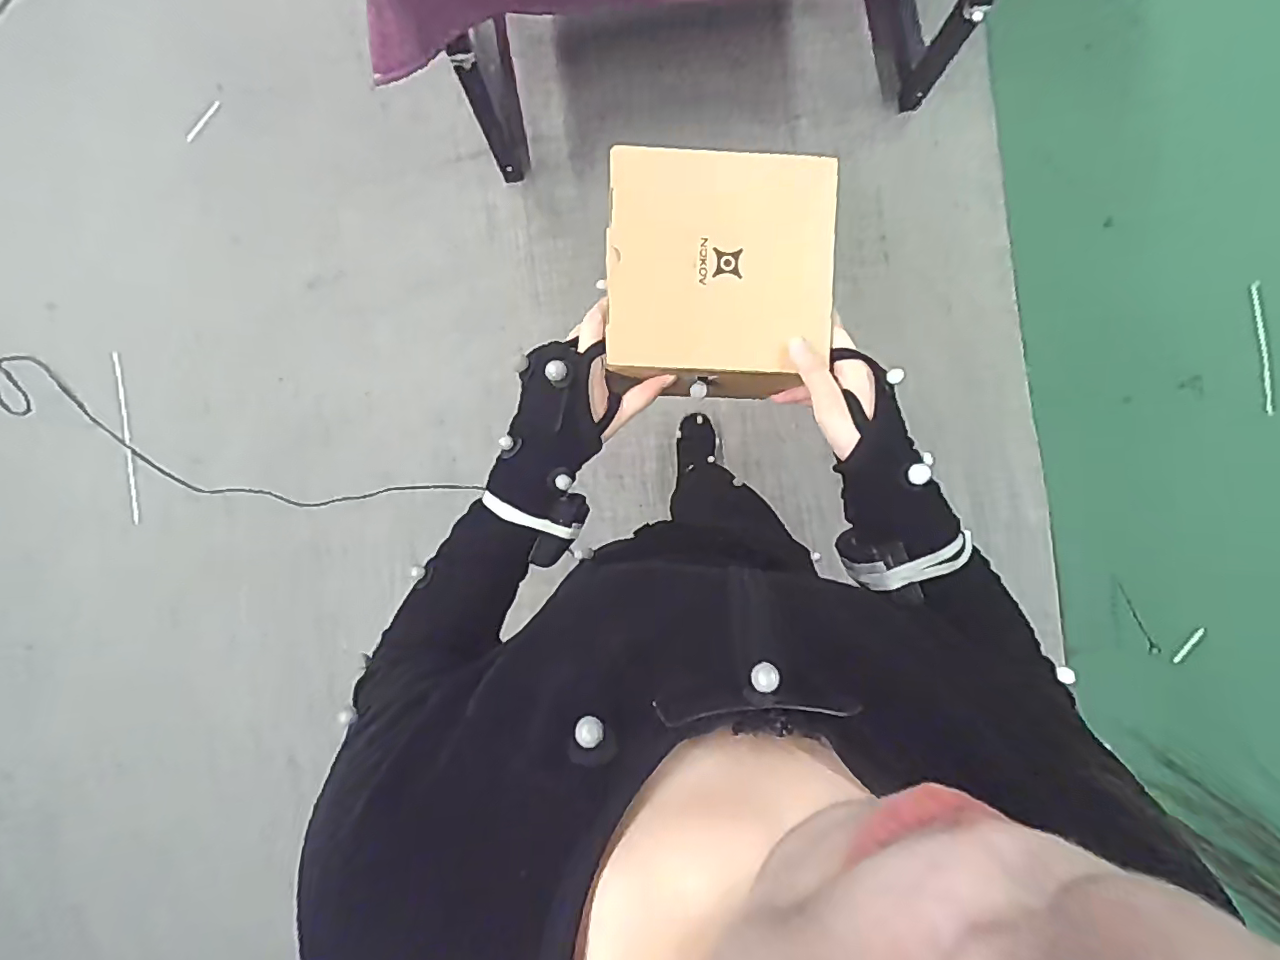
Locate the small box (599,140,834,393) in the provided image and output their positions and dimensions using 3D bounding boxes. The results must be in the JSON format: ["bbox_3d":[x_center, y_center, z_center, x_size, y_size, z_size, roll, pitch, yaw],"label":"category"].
[{"bbox_3d":[0.055,-0.172,0.488,0.179,0.176,0.168,1,92,-2],"label":"small box"}]
